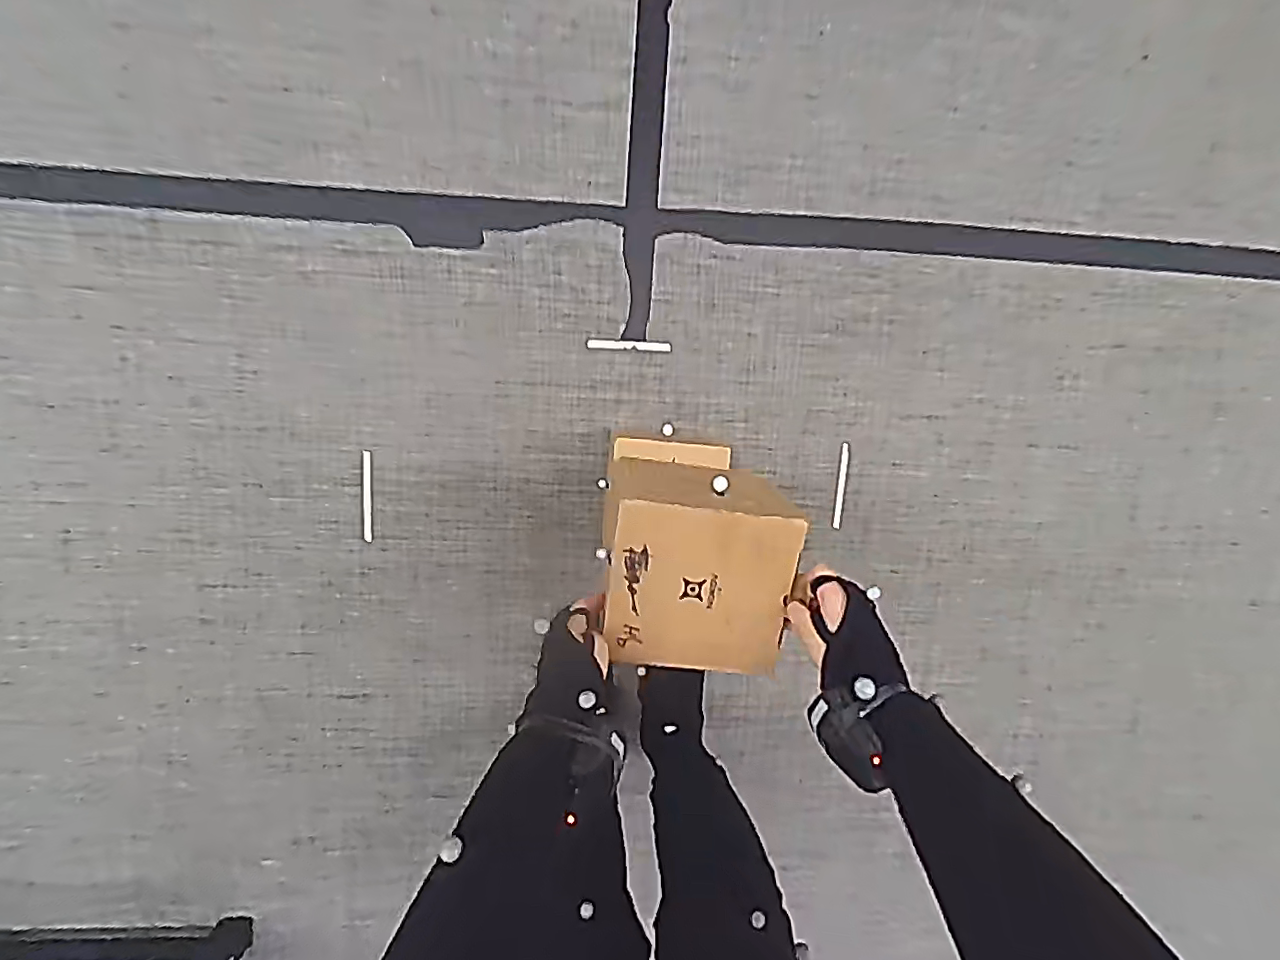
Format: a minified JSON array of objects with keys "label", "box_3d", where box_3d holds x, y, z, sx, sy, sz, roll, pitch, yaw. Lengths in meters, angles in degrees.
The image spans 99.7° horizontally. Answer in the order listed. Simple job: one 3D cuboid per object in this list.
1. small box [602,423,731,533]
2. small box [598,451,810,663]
[{"label":"small box","box_3d":[0.030,0.011,0.833,0.168,0.176,0.179,5,98,-7]},{"label":"small box","box_3d":[0.052,0.072,0.578,0.179,0.176,0.168,7,105,-6]}]
